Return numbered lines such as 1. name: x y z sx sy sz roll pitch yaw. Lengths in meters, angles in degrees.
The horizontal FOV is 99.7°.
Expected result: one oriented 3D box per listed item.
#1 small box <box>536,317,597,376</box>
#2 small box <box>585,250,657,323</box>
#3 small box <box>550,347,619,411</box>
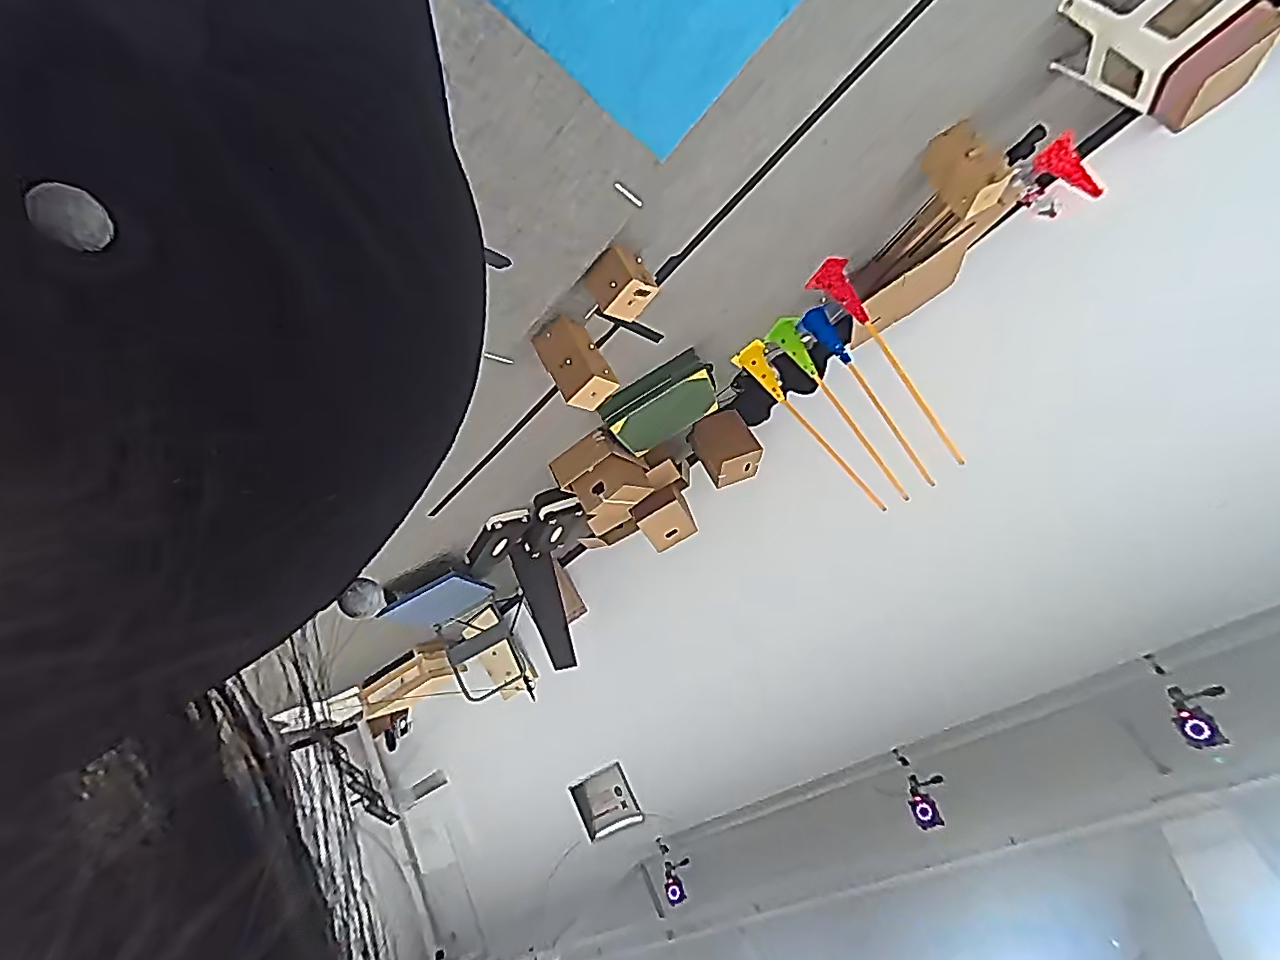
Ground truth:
1. small box: -0.301 -0.527 2.201 0.179 0.176 0.168 -37 161 23
2. small box: -0.077 -0.725 2.025 0.179 0.176 0.168 -41 158 31
3. small box: -0.220 -0.399 2.141 0.168 0.176 0.179 -40 158 23
